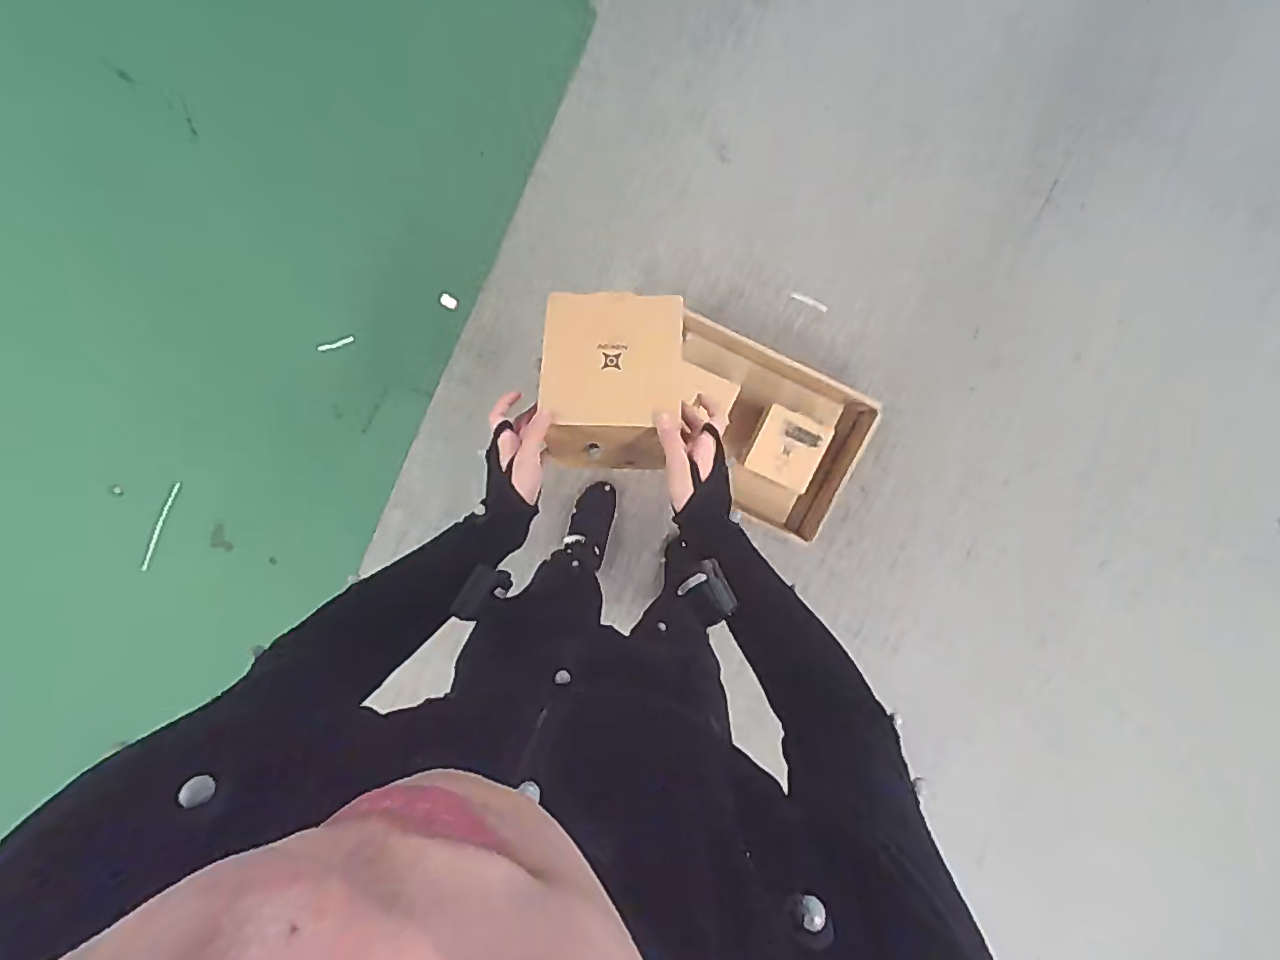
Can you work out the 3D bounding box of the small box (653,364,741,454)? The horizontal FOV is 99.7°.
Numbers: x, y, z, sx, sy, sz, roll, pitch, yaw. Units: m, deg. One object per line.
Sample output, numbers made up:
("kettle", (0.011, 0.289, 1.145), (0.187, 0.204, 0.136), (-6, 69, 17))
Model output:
("small box", (0.147, -0.181, 1.416), (0.168, 0.176, 0.179), (25, 95, 1))
